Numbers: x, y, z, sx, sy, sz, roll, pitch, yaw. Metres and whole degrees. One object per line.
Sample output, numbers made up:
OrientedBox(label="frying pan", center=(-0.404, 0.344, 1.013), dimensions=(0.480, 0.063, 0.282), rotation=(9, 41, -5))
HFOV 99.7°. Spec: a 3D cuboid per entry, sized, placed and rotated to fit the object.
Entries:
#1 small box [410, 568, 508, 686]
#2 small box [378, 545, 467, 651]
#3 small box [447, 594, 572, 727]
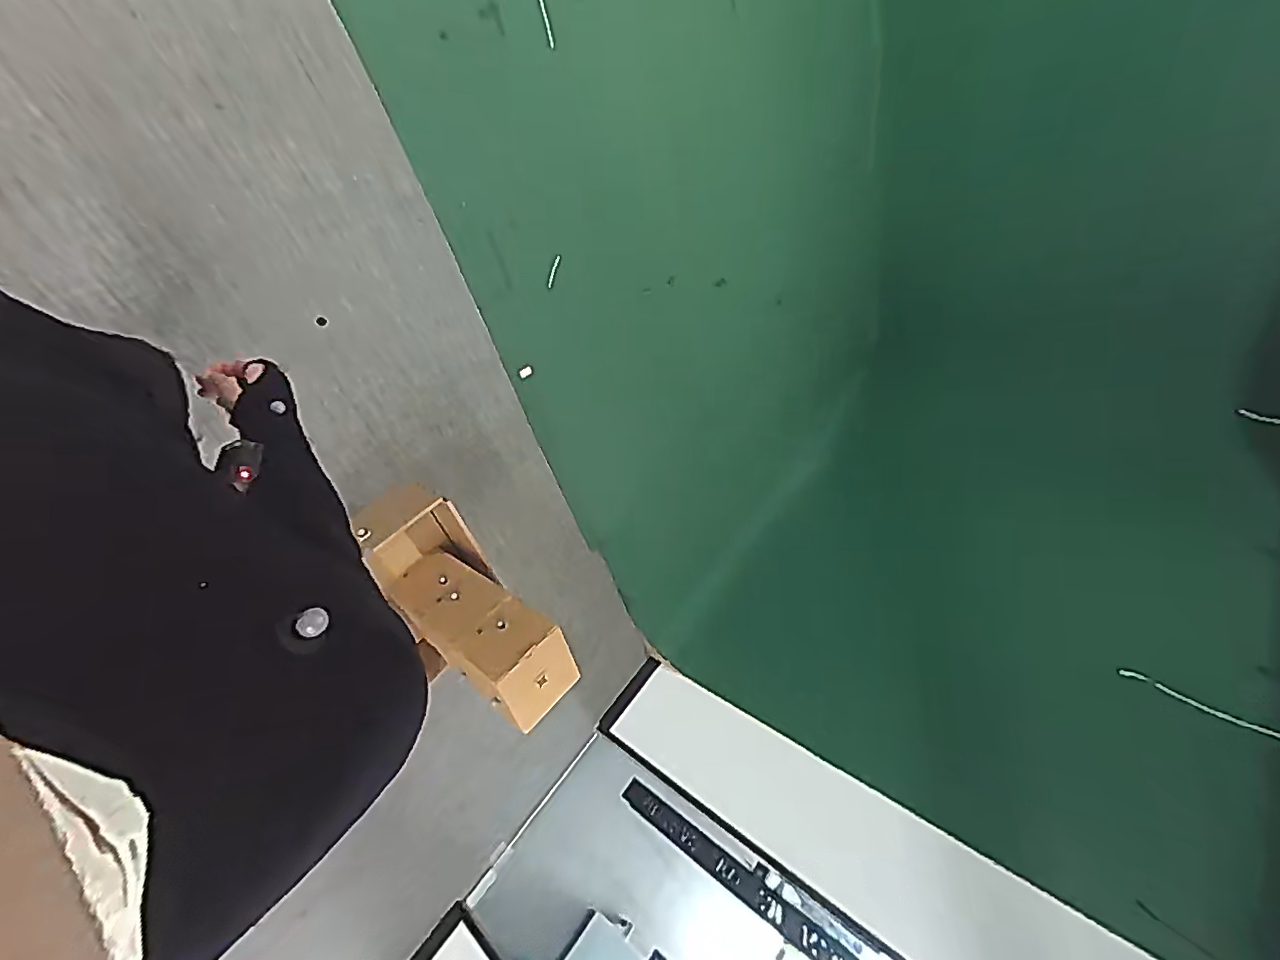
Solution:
OrientedBox(label="small box", center=(-0.397, 0.335, 1.258), dimensions=(0.168, 0.176, 0.179), rotation=(-42, 133, -33))
OrientedBox(label="small box", center=(-0.518, 0.292, 1.360), dimensions=(0.168, 0.176, 0.179), rotation=(-43, 134, -31))
OrientedBox(label="small box", center=(-0.278, 0.378, 1.157), dimensions=(0.168, 0.176, 0.179), rotation=(-40, 132, -33))
